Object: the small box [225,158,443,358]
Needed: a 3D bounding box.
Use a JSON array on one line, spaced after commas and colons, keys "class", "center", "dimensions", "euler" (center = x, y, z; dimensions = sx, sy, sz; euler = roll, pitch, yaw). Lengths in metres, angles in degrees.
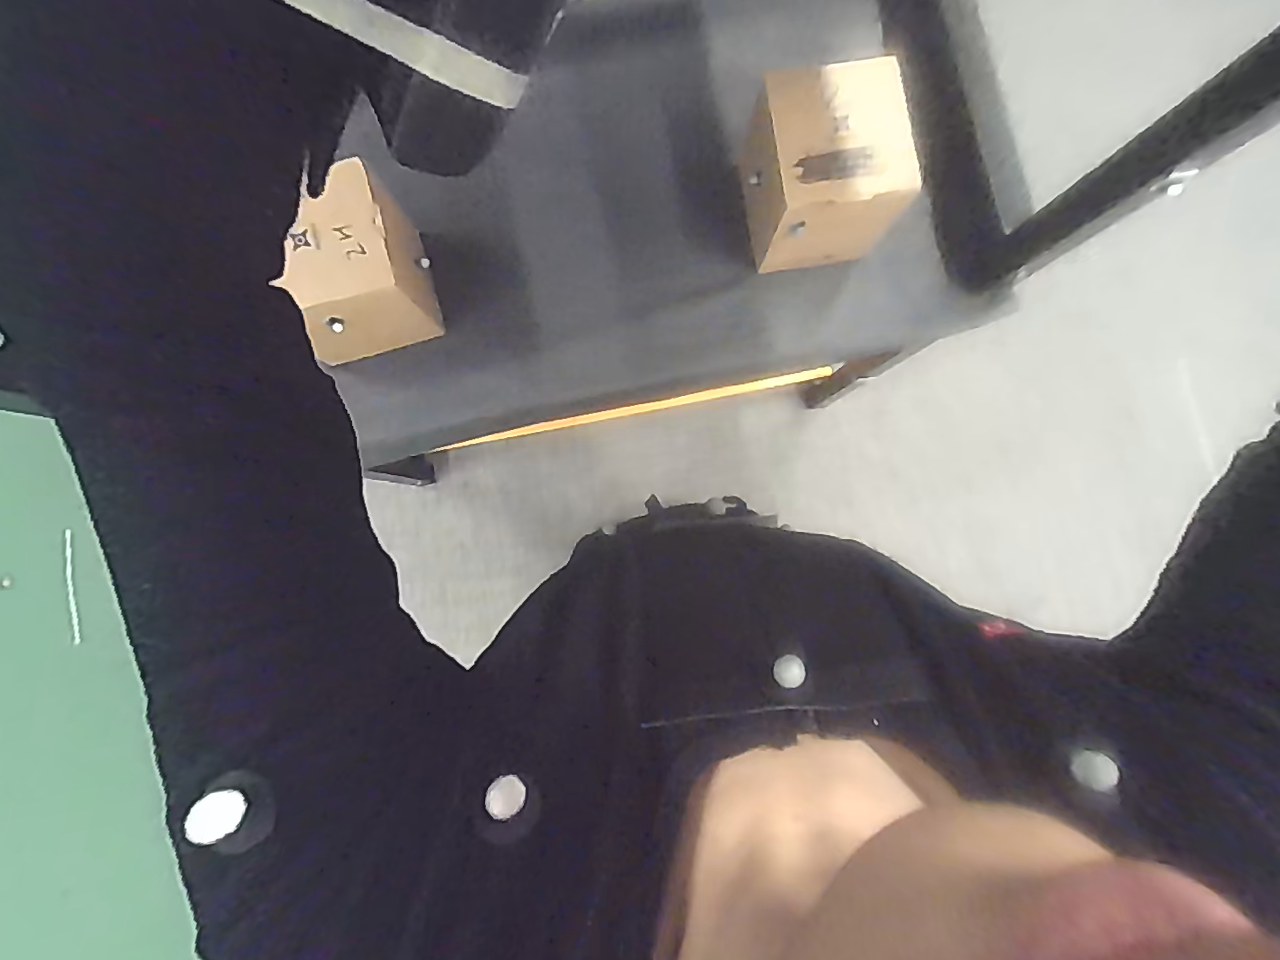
[{"class": "small box", "center": [-0.390, -0.278, 0.717], "dimensions": [0.179, 0.176, 0.168], "euler": [-16, 86, -2]}]
